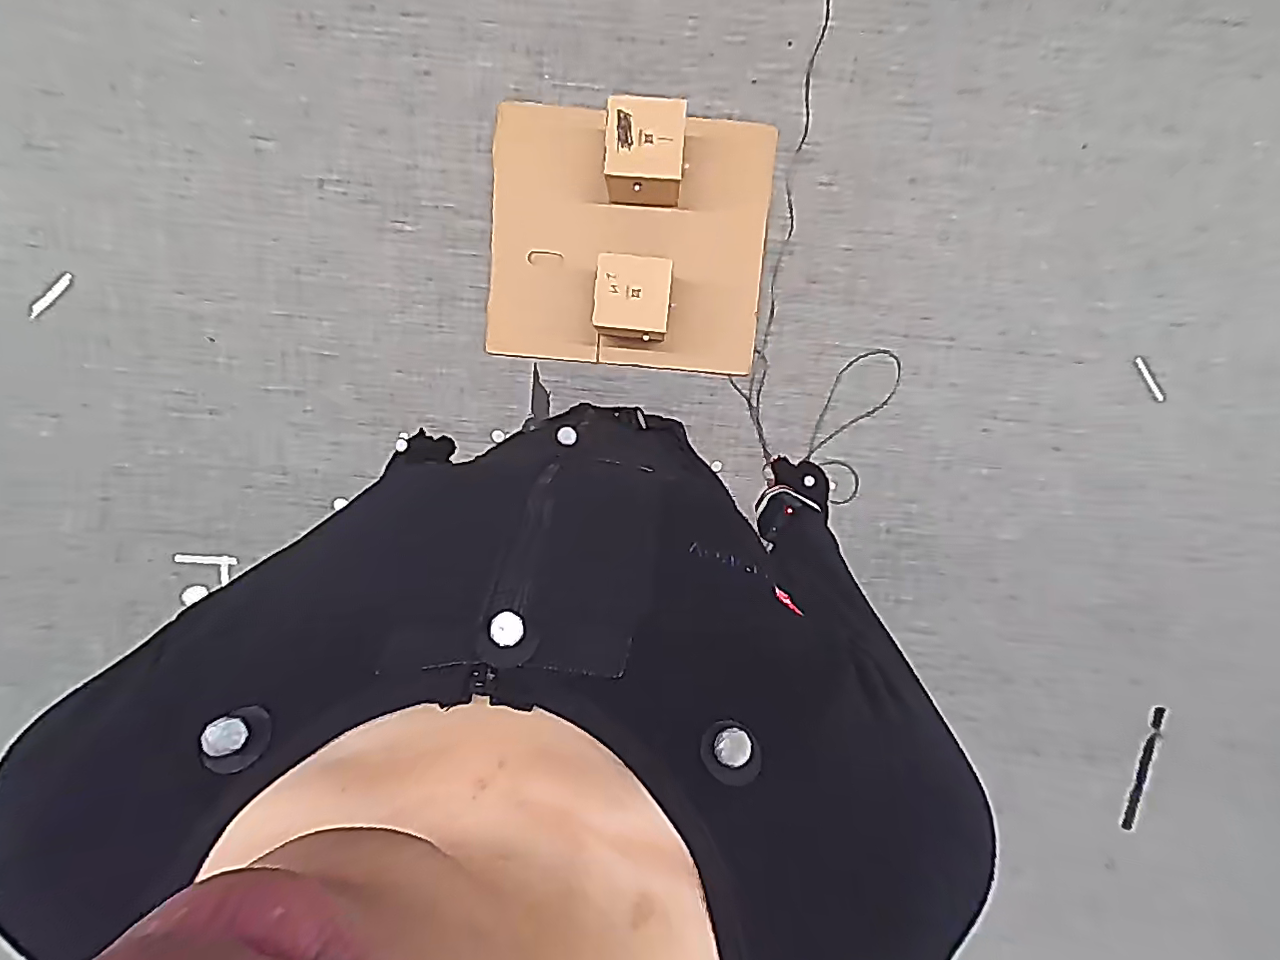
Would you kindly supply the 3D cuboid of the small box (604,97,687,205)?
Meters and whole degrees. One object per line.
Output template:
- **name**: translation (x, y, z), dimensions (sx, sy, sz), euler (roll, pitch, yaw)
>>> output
- **small box**: translation (0.015, -0.768, 1.278), dimensions (0.179, 0.176, 0.168), euler (4, 99, 1)

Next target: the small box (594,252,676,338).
- **small box**: translation (-0.010, -0.446, 1.326), dimensions (0.179, 0.176, 0.168), euler (7, 98, 2)
